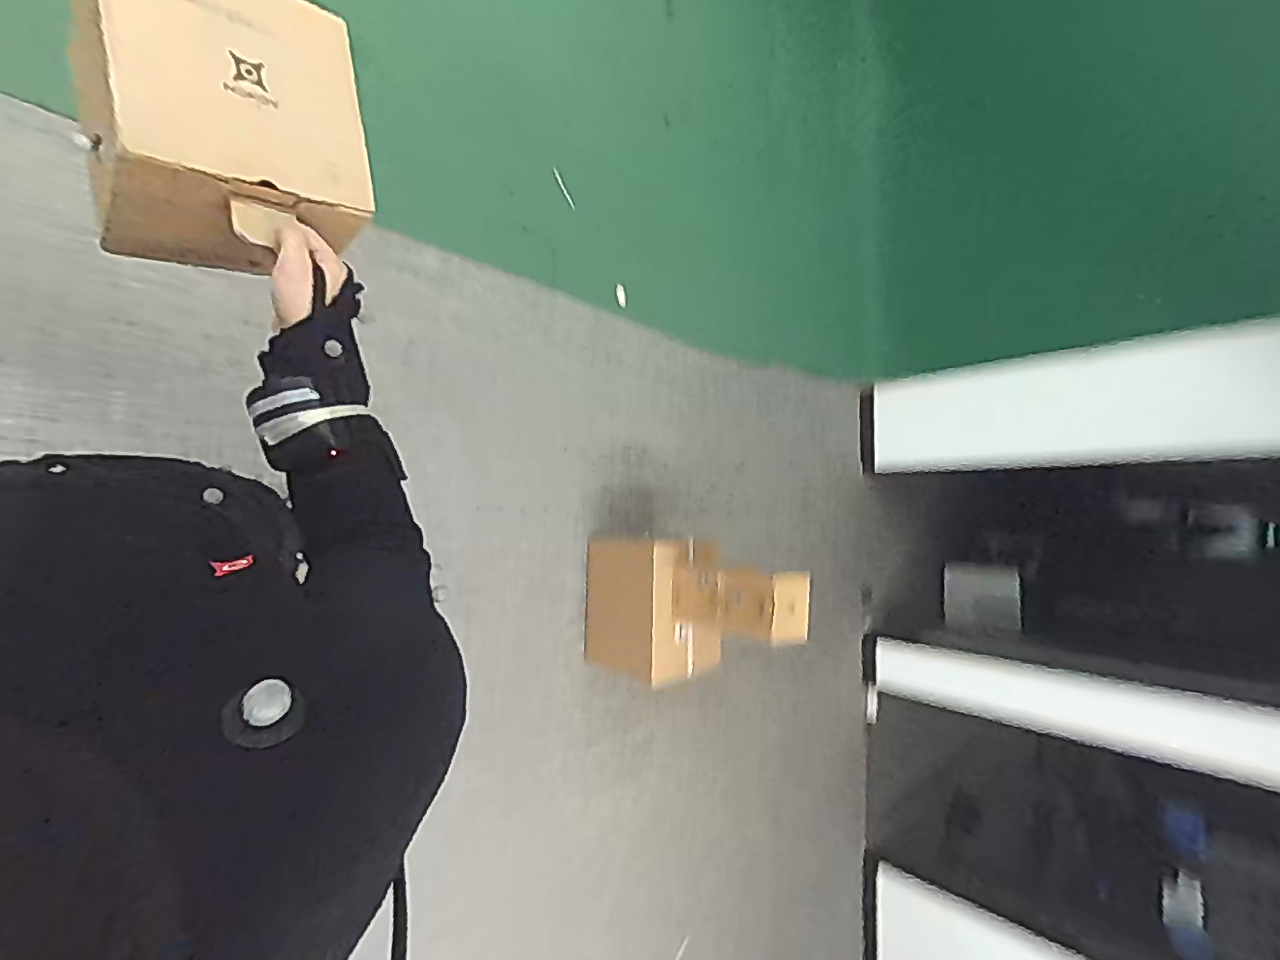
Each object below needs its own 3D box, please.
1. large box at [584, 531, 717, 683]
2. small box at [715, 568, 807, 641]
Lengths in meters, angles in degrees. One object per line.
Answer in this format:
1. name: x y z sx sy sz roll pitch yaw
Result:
1. large box: 0.031 0.379 1.732 0.320 0.320 0.408 3 88 -42
2. small box: 0.325 0.328 1.451 0.179 0.176 0.168 10 82 -43
